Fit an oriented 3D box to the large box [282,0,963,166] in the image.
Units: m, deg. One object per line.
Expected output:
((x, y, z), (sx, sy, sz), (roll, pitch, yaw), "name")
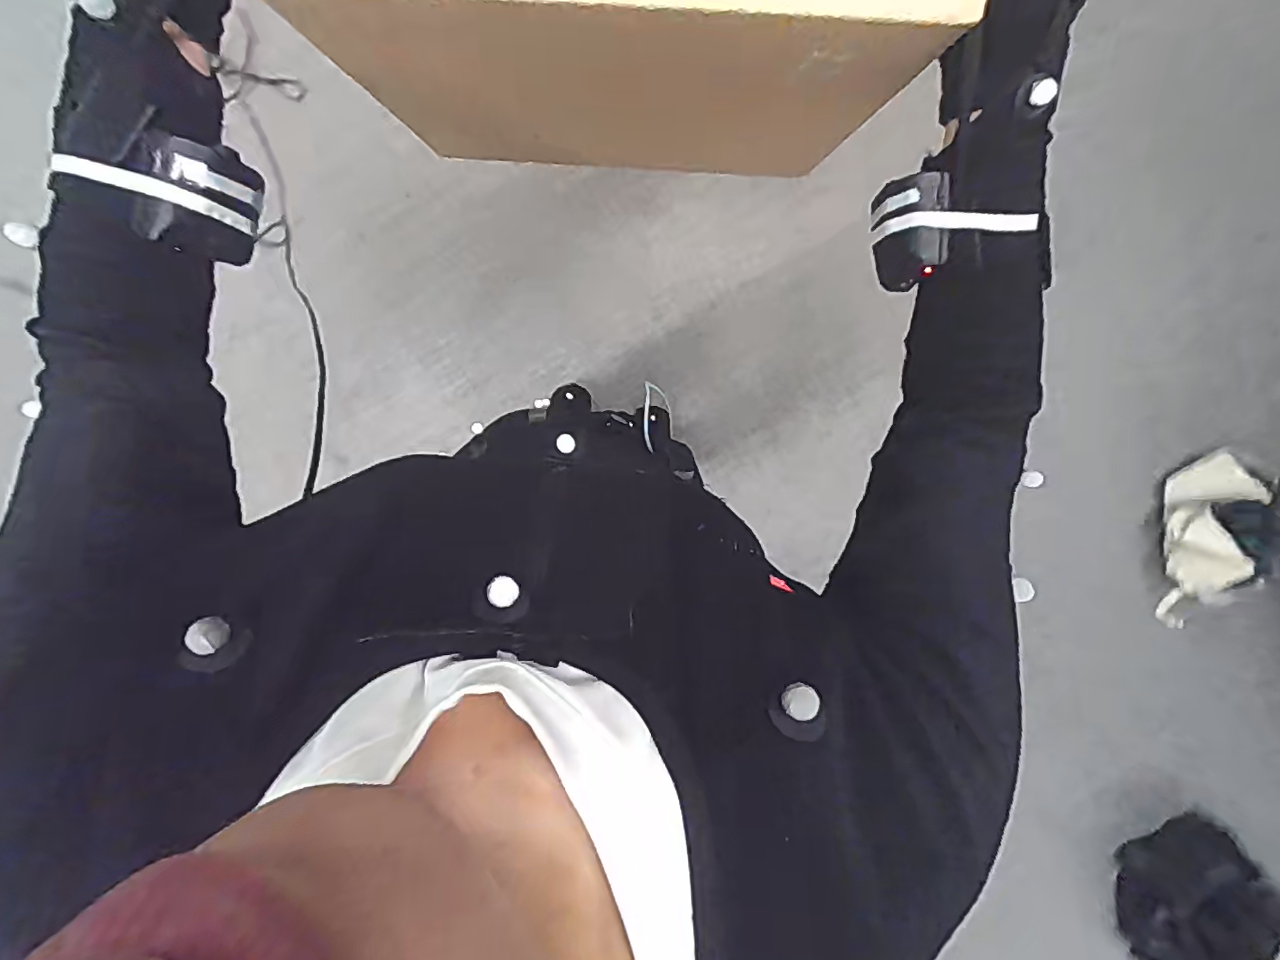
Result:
((-0.015, -0.454, 0.410), (0.408, 0.320, 0.320), (0, 106, -2), "large box")
